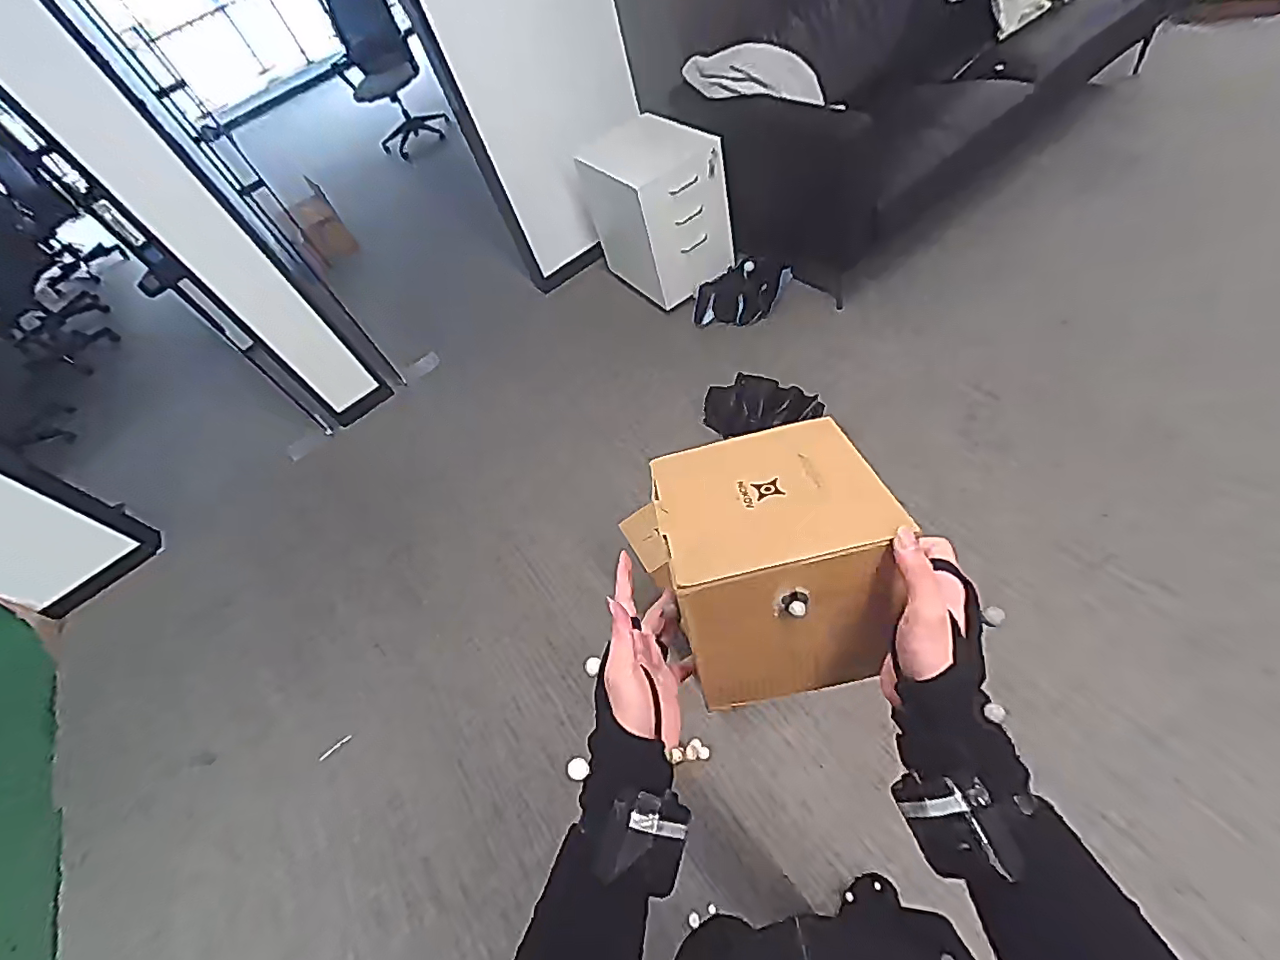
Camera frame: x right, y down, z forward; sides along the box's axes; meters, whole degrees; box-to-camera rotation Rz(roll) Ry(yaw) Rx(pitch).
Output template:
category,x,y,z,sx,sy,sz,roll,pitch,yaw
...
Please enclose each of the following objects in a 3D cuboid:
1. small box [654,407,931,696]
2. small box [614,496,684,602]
category,x,y,z,sx,sy,sz,roll,pitch,yaw
small box,0.121,0.062,0.474,0.179,0.176,0.168,-13,36,0
small box,0.065,0.165,1.319,0.179,0.176,0.168,-32,51,-5
